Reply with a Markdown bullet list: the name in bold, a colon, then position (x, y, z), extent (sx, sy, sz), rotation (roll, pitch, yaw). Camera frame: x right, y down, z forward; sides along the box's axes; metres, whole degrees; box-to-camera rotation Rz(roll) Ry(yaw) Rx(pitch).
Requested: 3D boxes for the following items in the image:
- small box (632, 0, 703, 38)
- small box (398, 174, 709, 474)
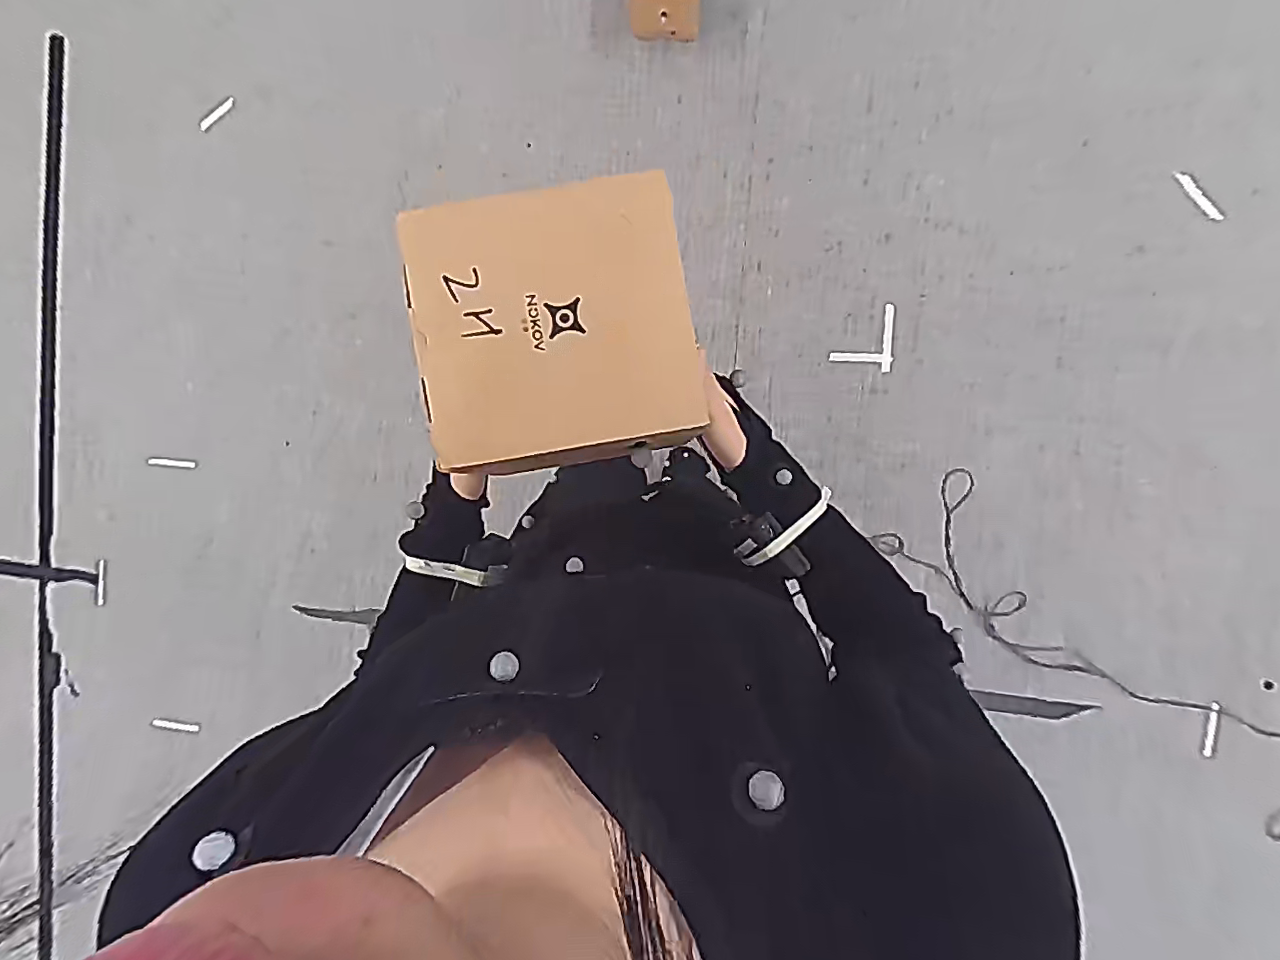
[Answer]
- **small box**: position (0.073, -1.238, 1.333), extent (0.168, 0.176, 0.179), rotation (7, 94, 5)
- **small box**: position (-0.056, -0.099, 0.418), extent (0.179, 0.176, 0.168), rotation (-10, 89, -1)
